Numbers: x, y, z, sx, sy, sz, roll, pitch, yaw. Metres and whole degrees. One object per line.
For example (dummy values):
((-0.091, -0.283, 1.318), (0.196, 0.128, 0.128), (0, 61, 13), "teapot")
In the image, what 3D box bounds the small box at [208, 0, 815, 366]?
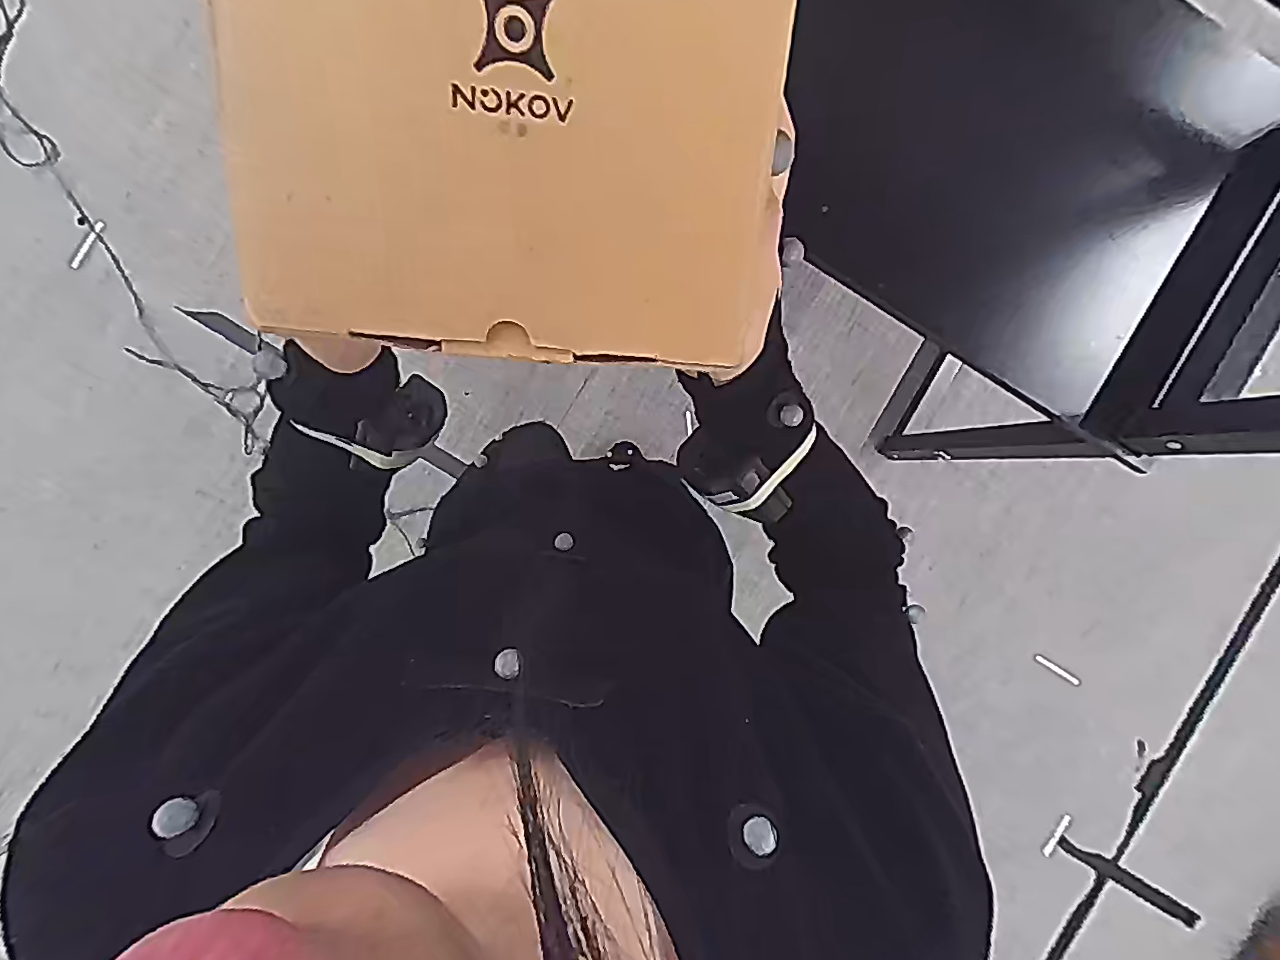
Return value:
((-0.040, -0.150, 0.227), (0.168, 0.176, 0.179), (3, 108, -6), "small box")

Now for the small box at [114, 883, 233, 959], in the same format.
((-1.181, 1.176, 1.363), (0.168, 0.176, 0.179), (26, 91, -4), "small box")
